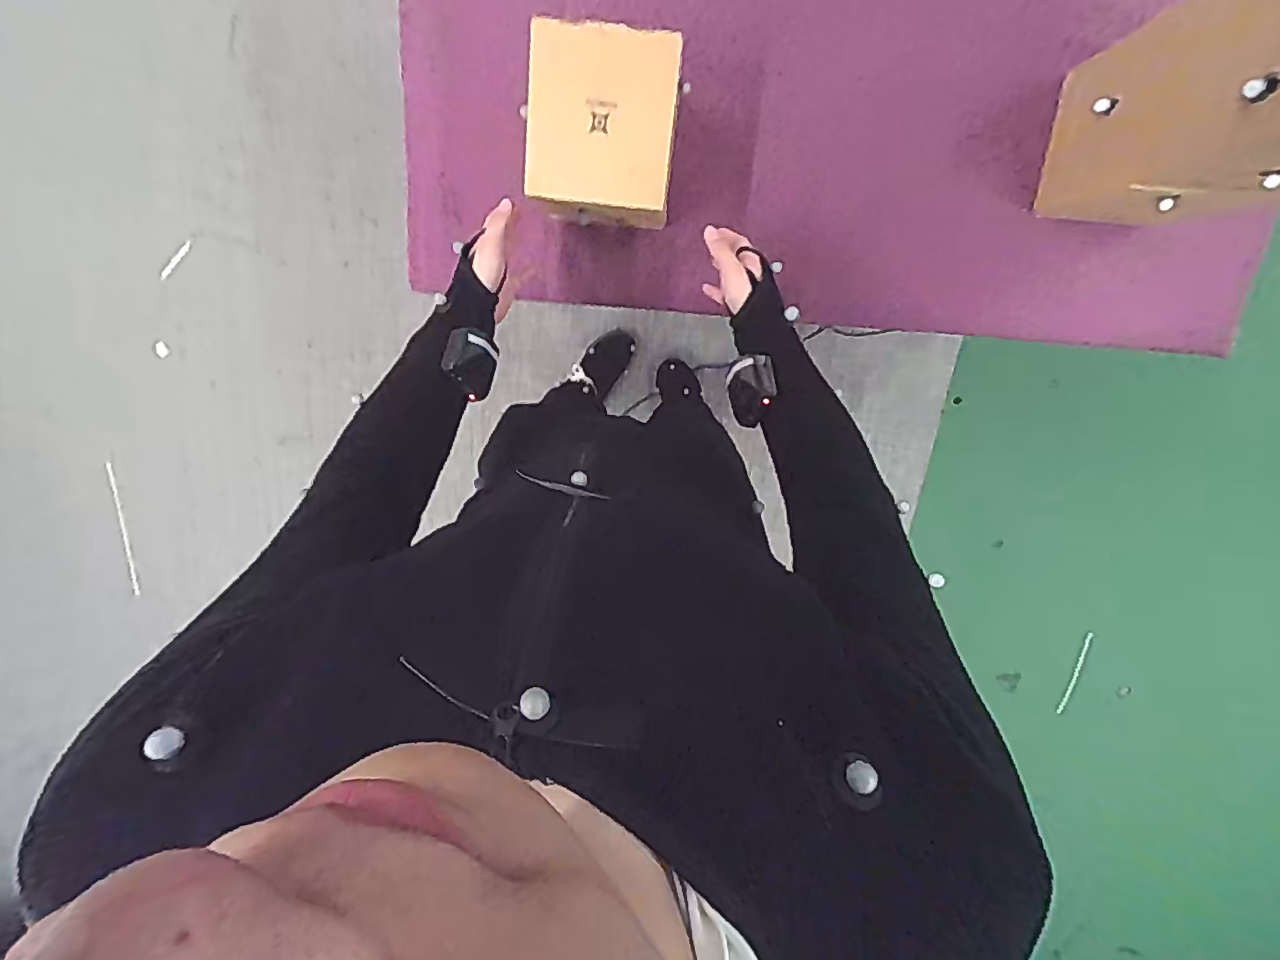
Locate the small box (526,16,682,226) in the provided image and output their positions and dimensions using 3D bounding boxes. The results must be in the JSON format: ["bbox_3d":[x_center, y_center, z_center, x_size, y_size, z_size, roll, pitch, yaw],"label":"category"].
[{"bbox_3d":[-0.039,-0.427,0.675,0.168,0.176,0.179,6,107,1],"label":"small box"}]

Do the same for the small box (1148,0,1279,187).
[{"bbox_3d":[0.623,-0.378,0.483,0.168,0.176,0.179,5,106,1],"label":"small box"}]

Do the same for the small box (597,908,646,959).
[{"bbox_3d":[-0.065,1.639,1.885,0.168,0.176,0.179,3,108,2],"label":"small box"}]

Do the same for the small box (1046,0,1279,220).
[{"bbox_3d":[0.631,-0.424,0.641,0.168,0.176,0.179,4,106,3],"label":"small box"}]
